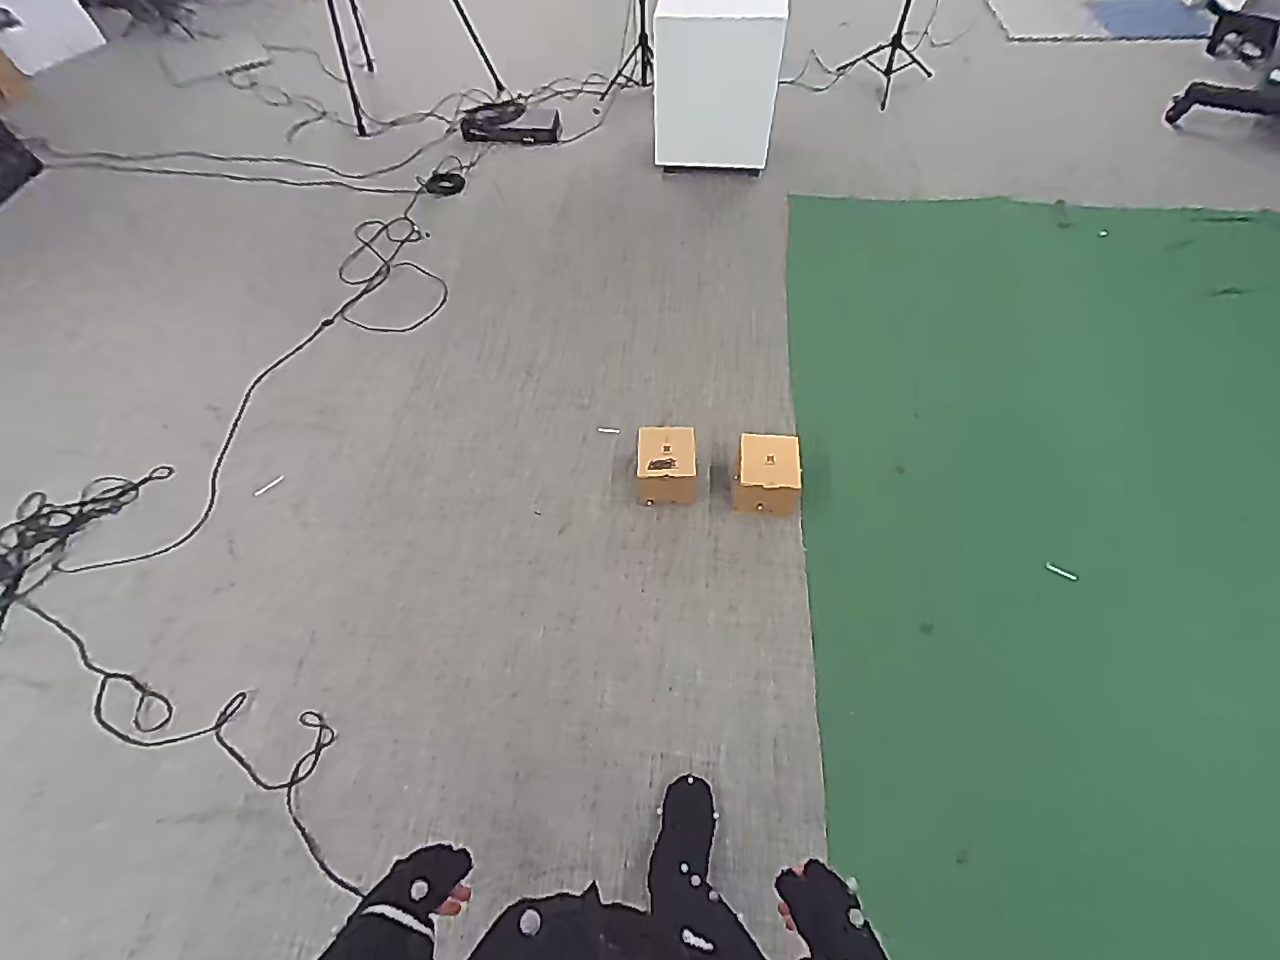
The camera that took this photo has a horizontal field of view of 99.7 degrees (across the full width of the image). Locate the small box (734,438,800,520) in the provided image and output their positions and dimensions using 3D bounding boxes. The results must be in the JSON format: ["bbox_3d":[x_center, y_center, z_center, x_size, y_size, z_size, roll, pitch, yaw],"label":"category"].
[{"bbox_3d":[0.368,-0.002,1.593,0.168,0.176,0.179,3,58,5],"label":"small box"}]

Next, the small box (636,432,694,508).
[{"bbox_3d":[0.077,-0.026,1.616,0.168,0.176,0.179,0,57,2],"label":"small box"}]
